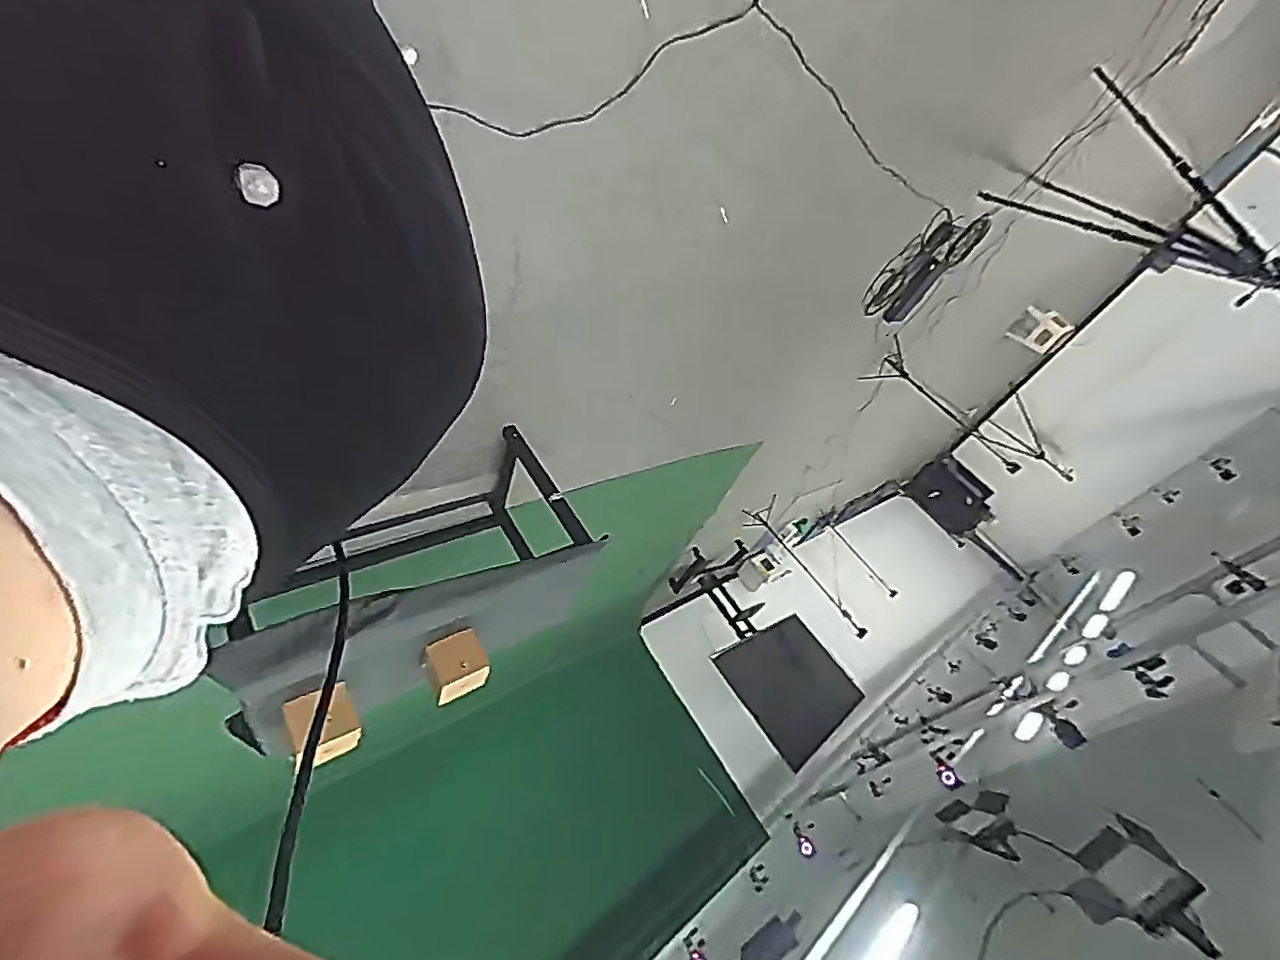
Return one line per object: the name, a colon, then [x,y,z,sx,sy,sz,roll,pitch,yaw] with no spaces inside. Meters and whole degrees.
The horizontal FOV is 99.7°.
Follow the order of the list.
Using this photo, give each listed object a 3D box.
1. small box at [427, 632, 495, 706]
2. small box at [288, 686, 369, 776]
small box: [-0.654,0.683,1.971,0.179,0.176,0.168,-16,146,-36]
small box: [-0.983,0.783,1.700,0.179,0.176,0.168,-14,145,-42]
